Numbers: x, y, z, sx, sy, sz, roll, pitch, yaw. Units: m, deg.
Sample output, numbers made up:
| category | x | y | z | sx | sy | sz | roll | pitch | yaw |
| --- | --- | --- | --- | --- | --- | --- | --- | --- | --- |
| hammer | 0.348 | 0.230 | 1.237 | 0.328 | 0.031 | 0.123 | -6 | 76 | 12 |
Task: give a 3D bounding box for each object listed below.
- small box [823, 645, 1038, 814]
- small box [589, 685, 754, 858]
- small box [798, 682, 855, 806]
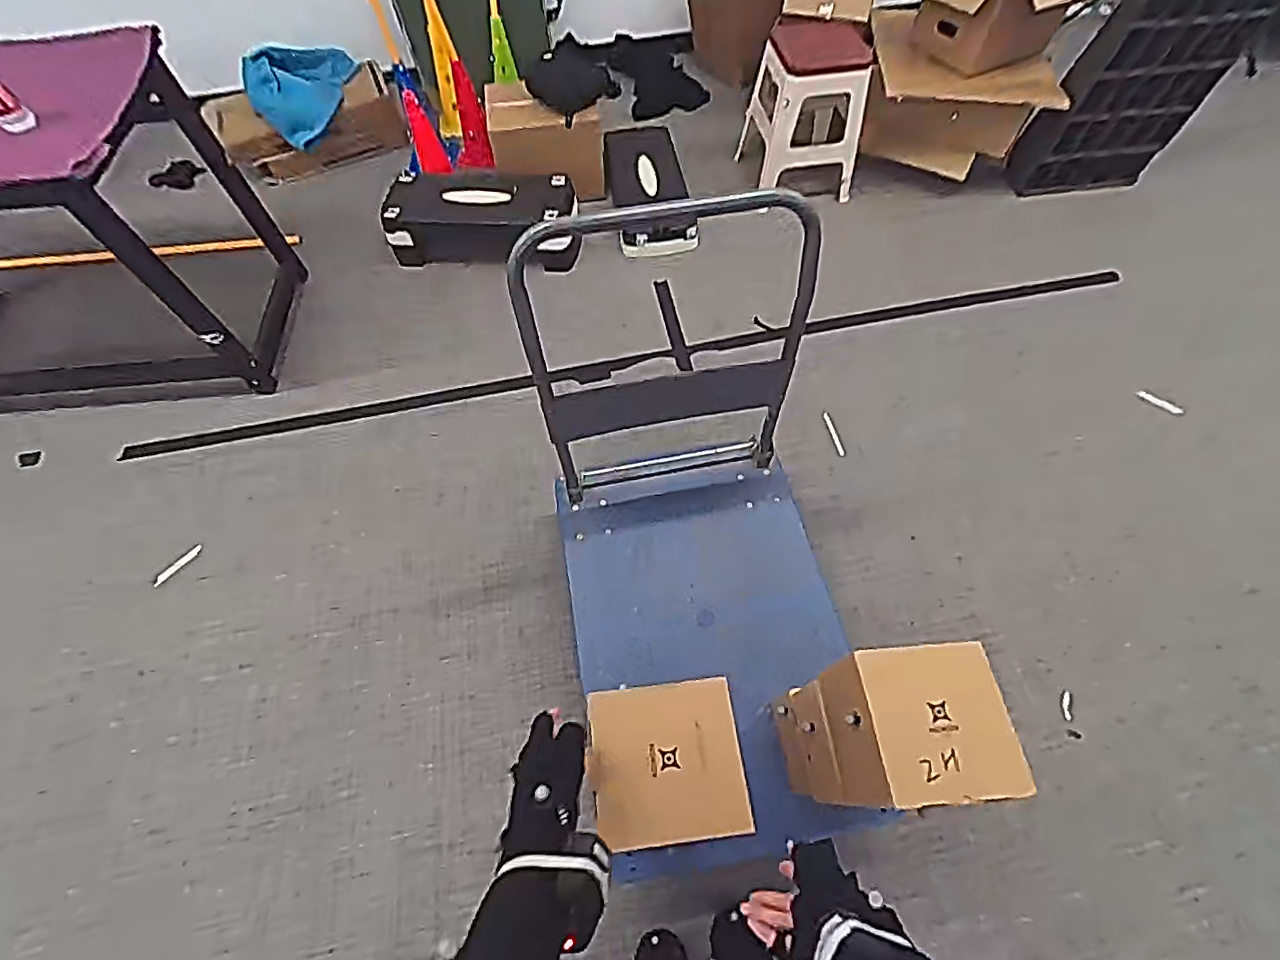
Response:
| category | x | y | z | sx | sy | sz | roll | pitch | yaw |
| --- | --- | --- | --- | --- | --- | --- | --- | --- | --- |
| small box | 0.357 | 0.328 | 0.707 | 0.168 | 0.176 | 0.179 | -4 | 61 | -1 |
| small box | 0.034 | 0.368 | 0.693 | 0.179 | 0.176 | 0.168 | -6 | 63 | -2 |
| small box | 0.360 | 0.410 | 0.850 | 0.179 | 0.176 | 0.168 | -5 | 61 | -3 |
